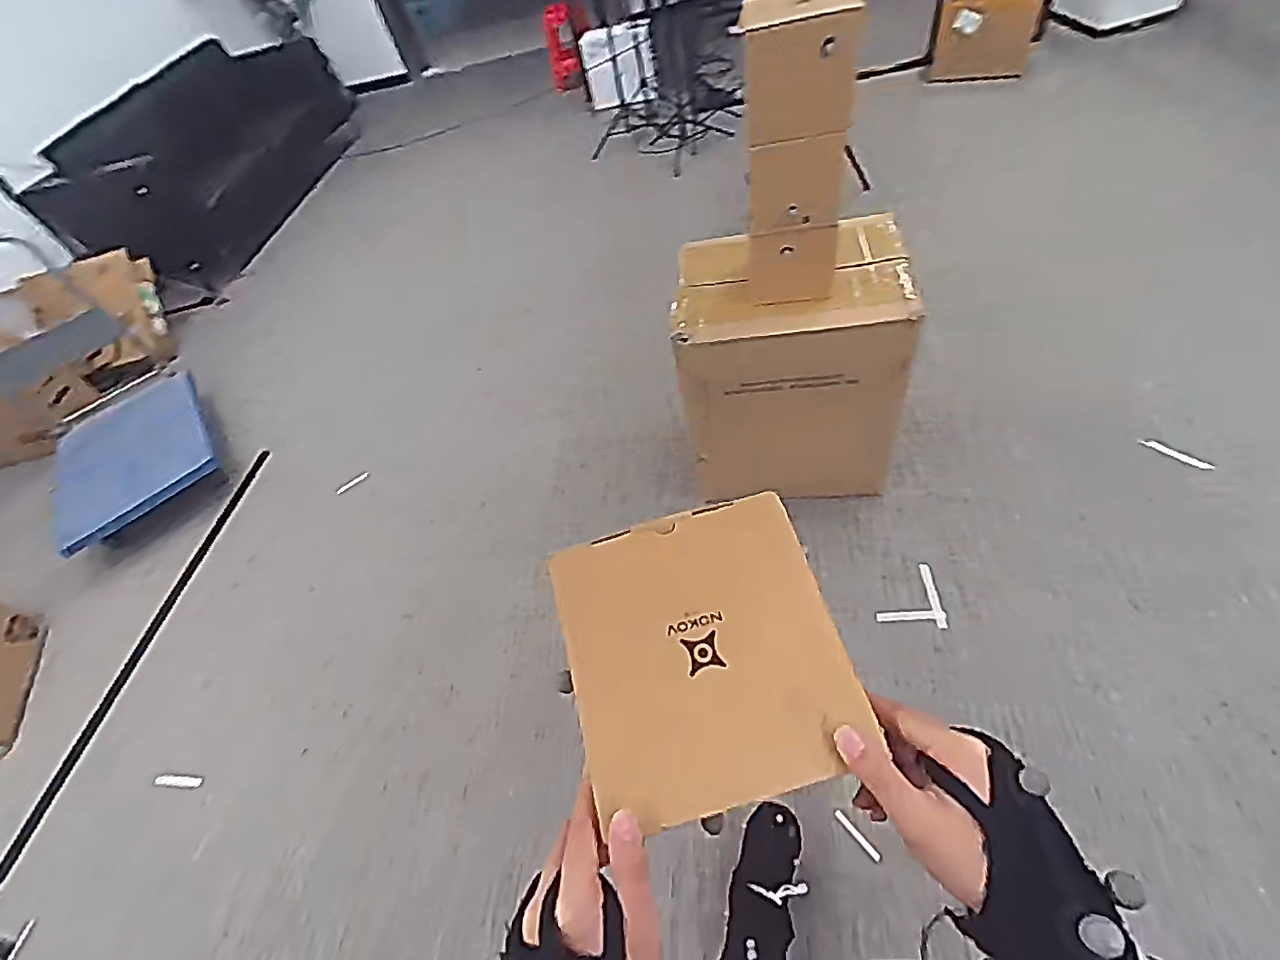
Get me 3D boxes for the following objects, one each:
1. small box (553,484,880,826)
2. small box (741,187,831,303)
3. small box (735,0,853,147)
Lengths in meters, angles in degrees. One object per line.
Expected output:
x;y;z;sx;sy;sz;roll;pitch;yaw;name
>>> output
0.046;0.133;0.407;0.168;0.176;0.179;-16;60;-2;small box
0.316;-0.506;1.181;0.179;0.176;0.168;-2;53;13;small box
0.255;-0.703;0.924;0.179;0.176;0.168;-3;53;13;small box
